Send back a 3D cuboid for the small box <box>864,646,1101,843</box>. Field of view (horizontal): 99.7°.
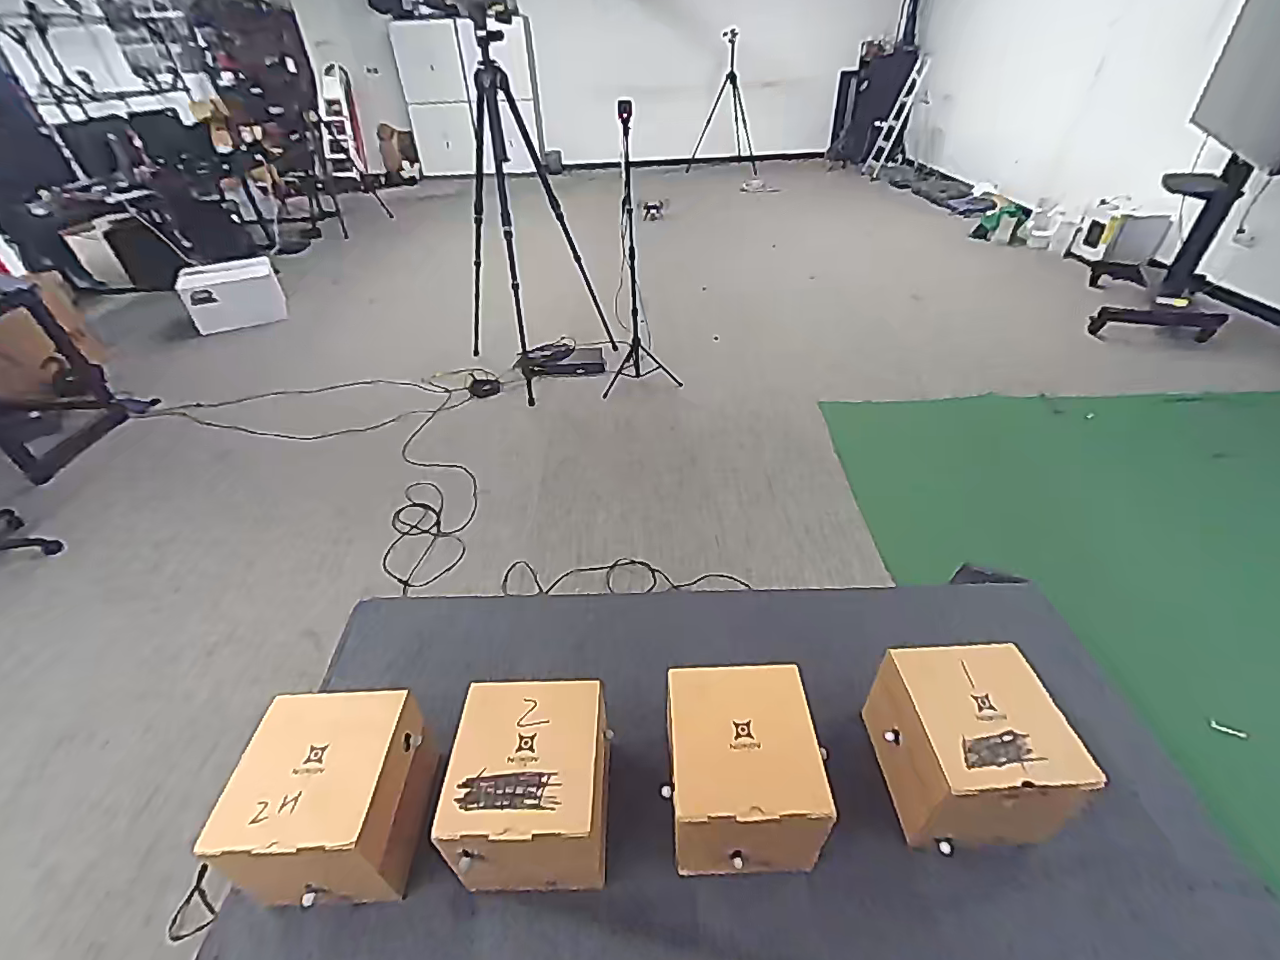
[{"bbox_3d":[0.404,0.334,0.679,0.168,0.176,0.179,-2,38,0],"label":"small box"}]

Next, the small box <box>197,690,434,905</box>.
[{"bbox_3d":[-0.365,0.380,0.654,0.168,0.176,0.179,-2,37,-1],"label":"small box"}]

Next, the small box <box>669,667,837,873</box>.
[{"bbox_3d":[0.122,0.356,0.671,0.168,0.176,0.179,-2,39,0],"label":"small box"}]
